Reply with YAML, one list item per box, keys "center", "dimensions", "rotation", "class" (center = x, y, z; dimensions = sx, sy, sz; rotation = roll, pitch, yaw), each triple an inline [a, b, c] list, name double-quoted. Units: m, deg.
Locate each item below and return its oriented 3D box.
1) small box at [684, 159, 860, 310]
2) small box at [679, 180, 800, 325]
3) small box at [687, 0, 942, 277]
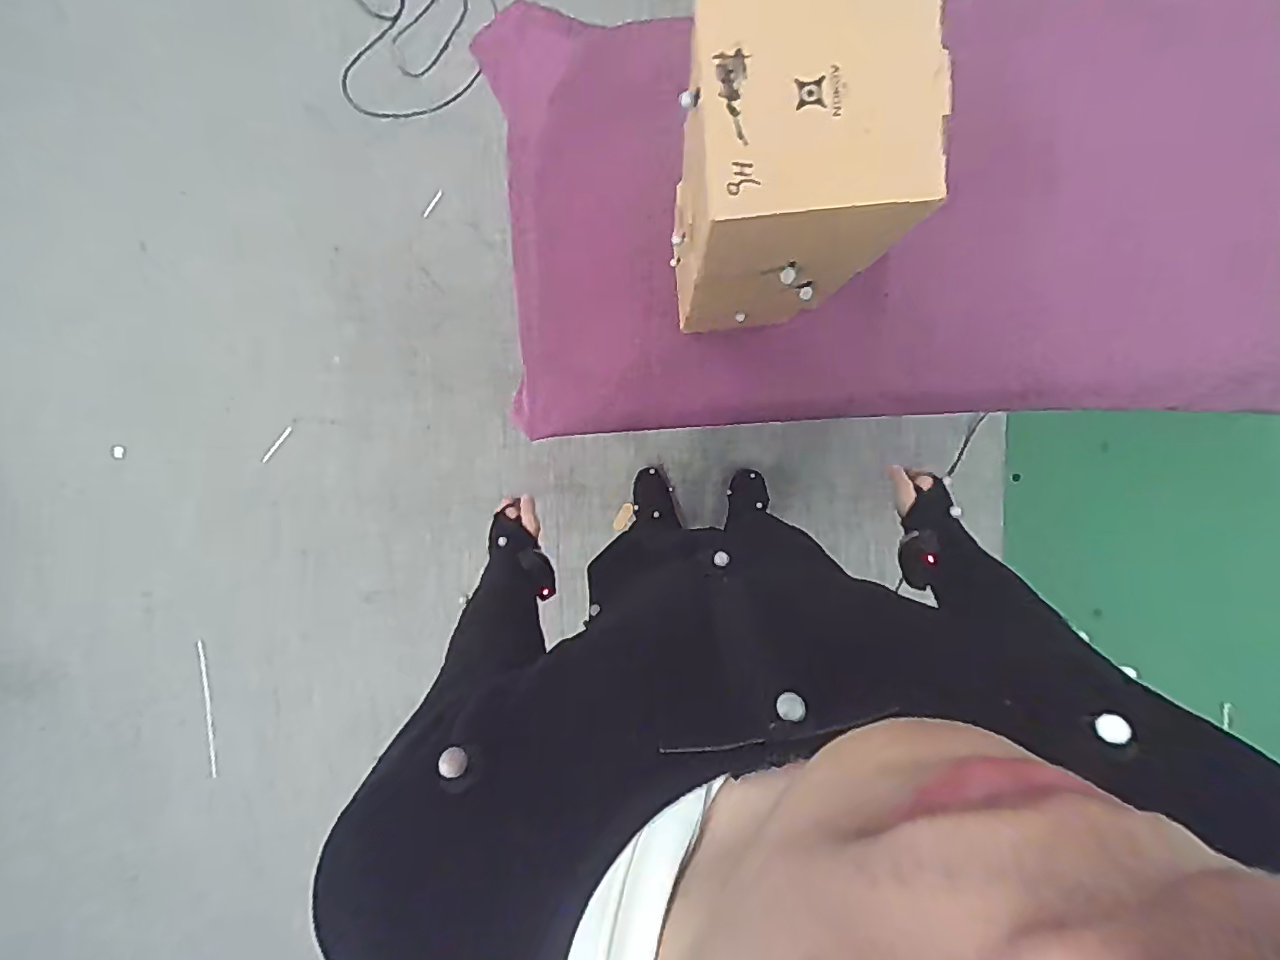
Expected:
- center: [0.144, -0.306, 0.639]
  dimensions: [0.179, 0.176, 0.168]
  rotation: [-2, 94, 4]
  class: "small box"
- center: [0.150, -0.334, 0.803]
  dimensions: [0.179, 0.176, 0.168]
  rotation: [-4, 95, 4]
  class: "small box"
- center: [0.136, -0.289, 0.477]
  dimensions: [0.179, 0.176, 0.168]
  rotation: [-3, 94, 3]
  class: "small box"
